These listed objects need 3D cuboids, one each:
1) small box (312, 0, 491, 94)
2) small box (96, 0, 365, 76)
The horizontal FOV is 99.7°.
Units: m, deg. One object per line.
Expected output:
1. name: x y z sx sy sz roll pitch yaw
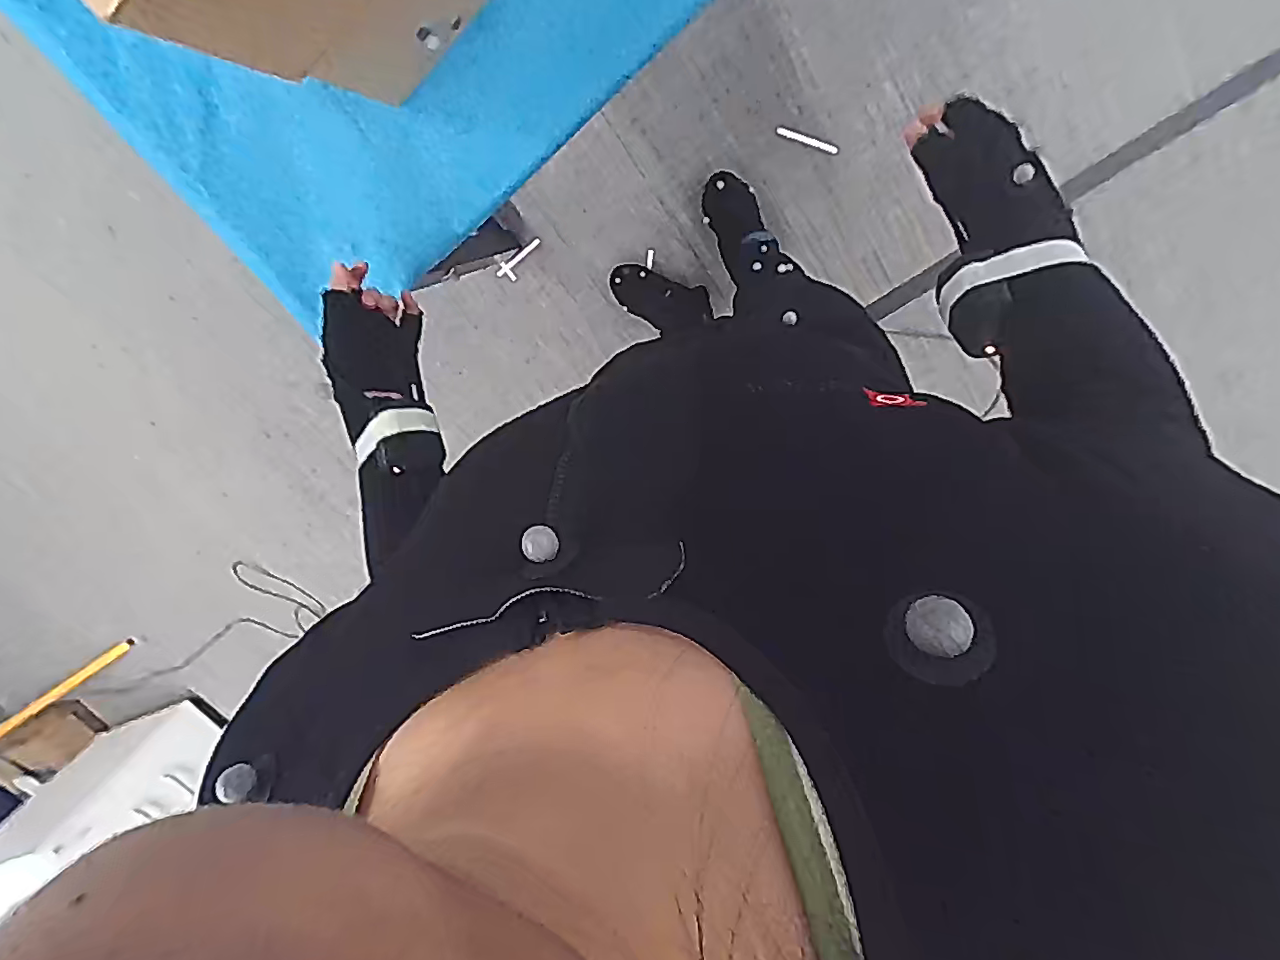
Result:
1. small box: -0.252 -0.461 0.444 0.168 0.176 0.179 -30 113 19
2. small box: -0.254 -0.378 0.298 0.179 0.176 0.168 -32 110 18
